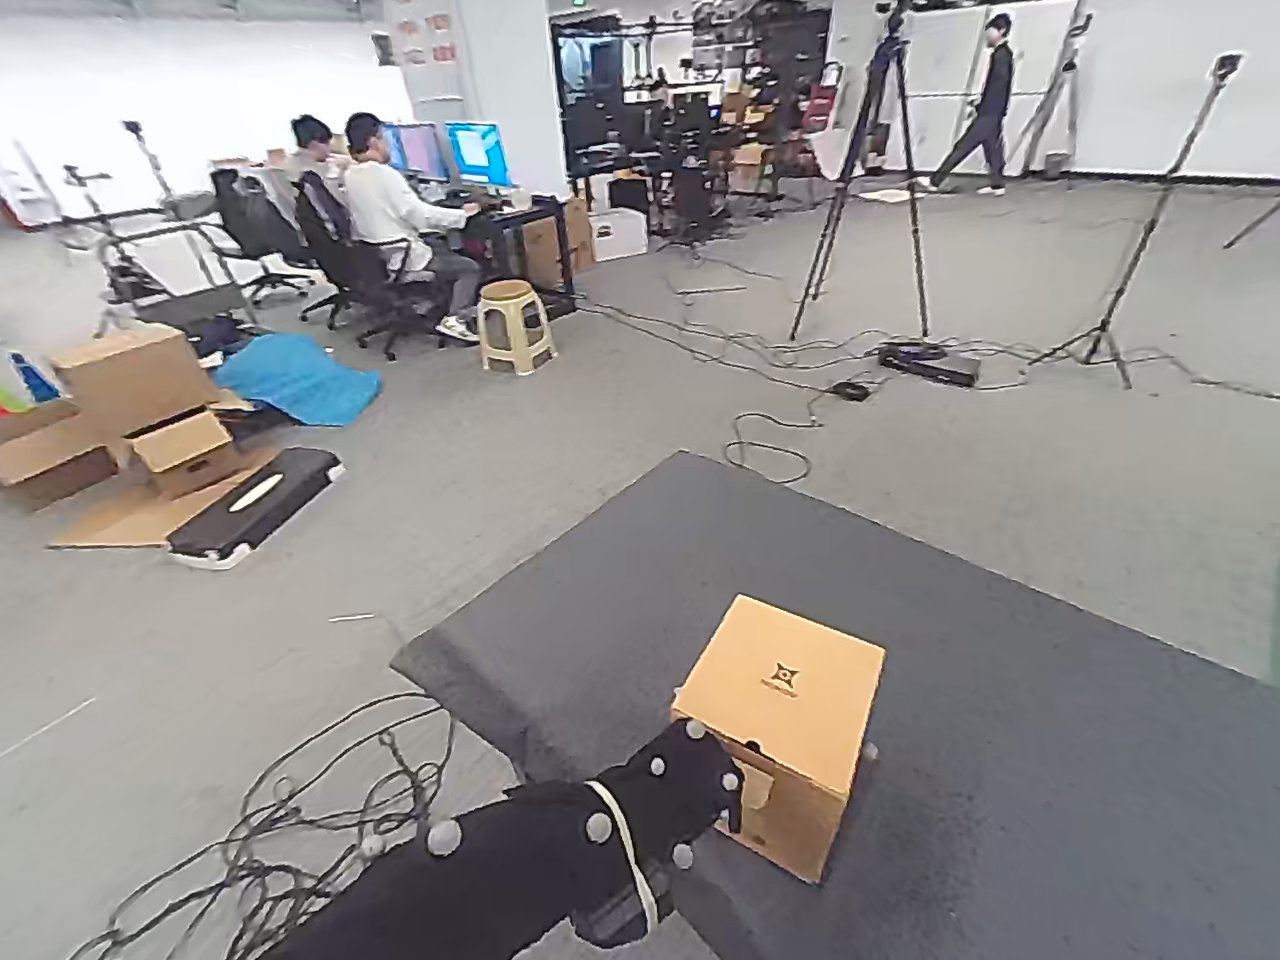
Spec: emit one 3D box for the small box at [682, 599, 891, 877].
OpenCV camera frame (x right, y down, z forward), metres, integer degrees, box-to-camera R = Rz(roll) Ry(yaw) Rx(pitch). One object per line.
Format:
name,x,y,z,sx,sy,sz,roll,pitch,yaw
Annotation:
small box,0.151,0.269,0.584,0.168,0.176,0.179,18,38,25
